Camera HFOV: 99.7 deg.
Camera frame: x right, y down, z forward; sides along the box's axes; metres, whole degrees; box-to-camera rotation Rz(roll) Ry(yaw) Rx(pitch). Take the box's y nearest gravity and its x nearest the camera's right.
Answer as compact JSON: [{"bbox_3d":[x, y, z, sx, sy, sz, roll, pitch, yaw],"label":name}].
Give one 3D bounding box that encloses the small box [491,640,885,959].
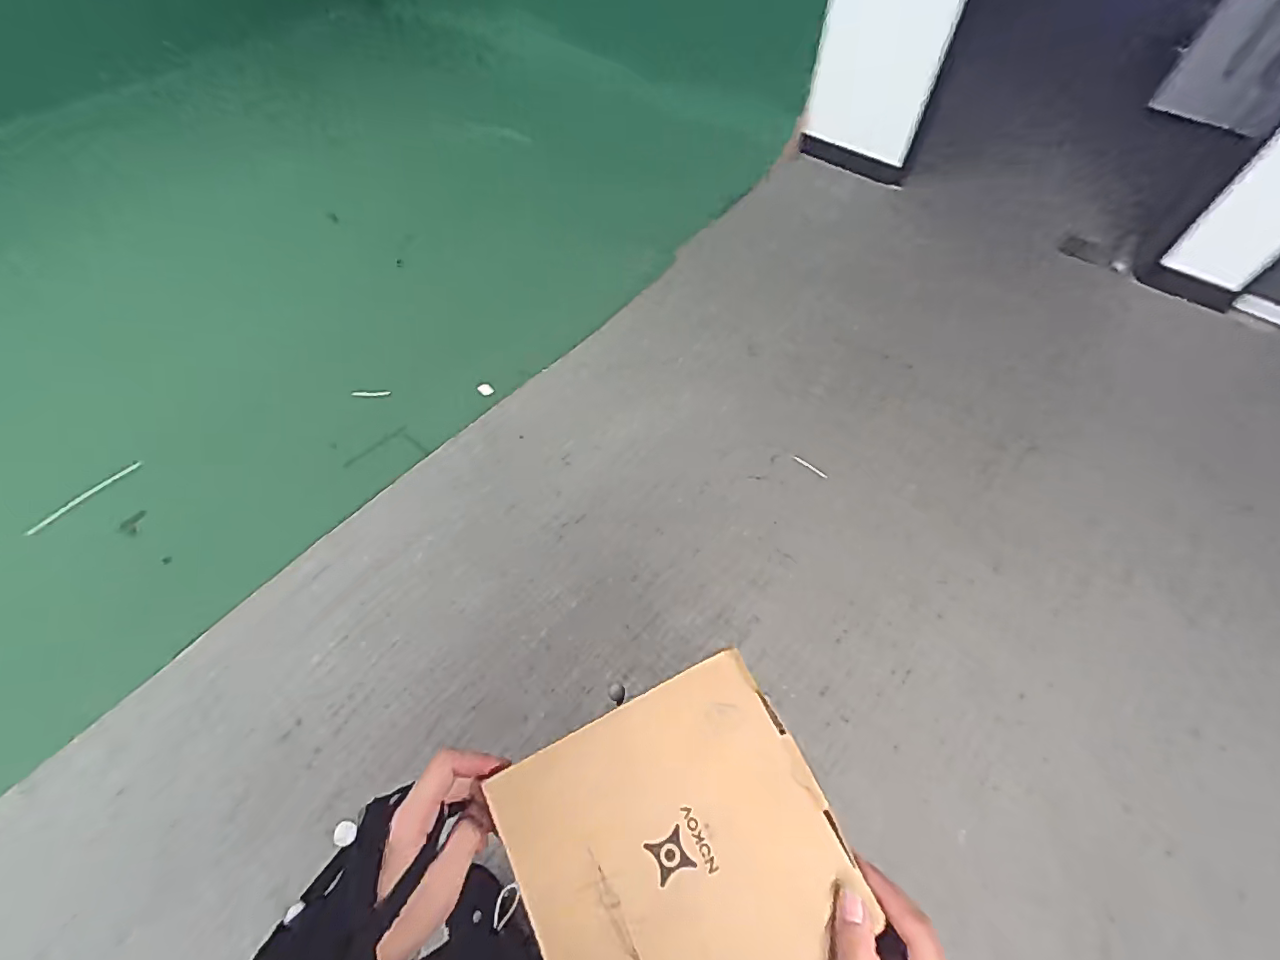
[{"bbox_3d":[0.025,0.233,0.383,0.179,0.176,0.168,-28,70,-8],"label":"small box"}]
